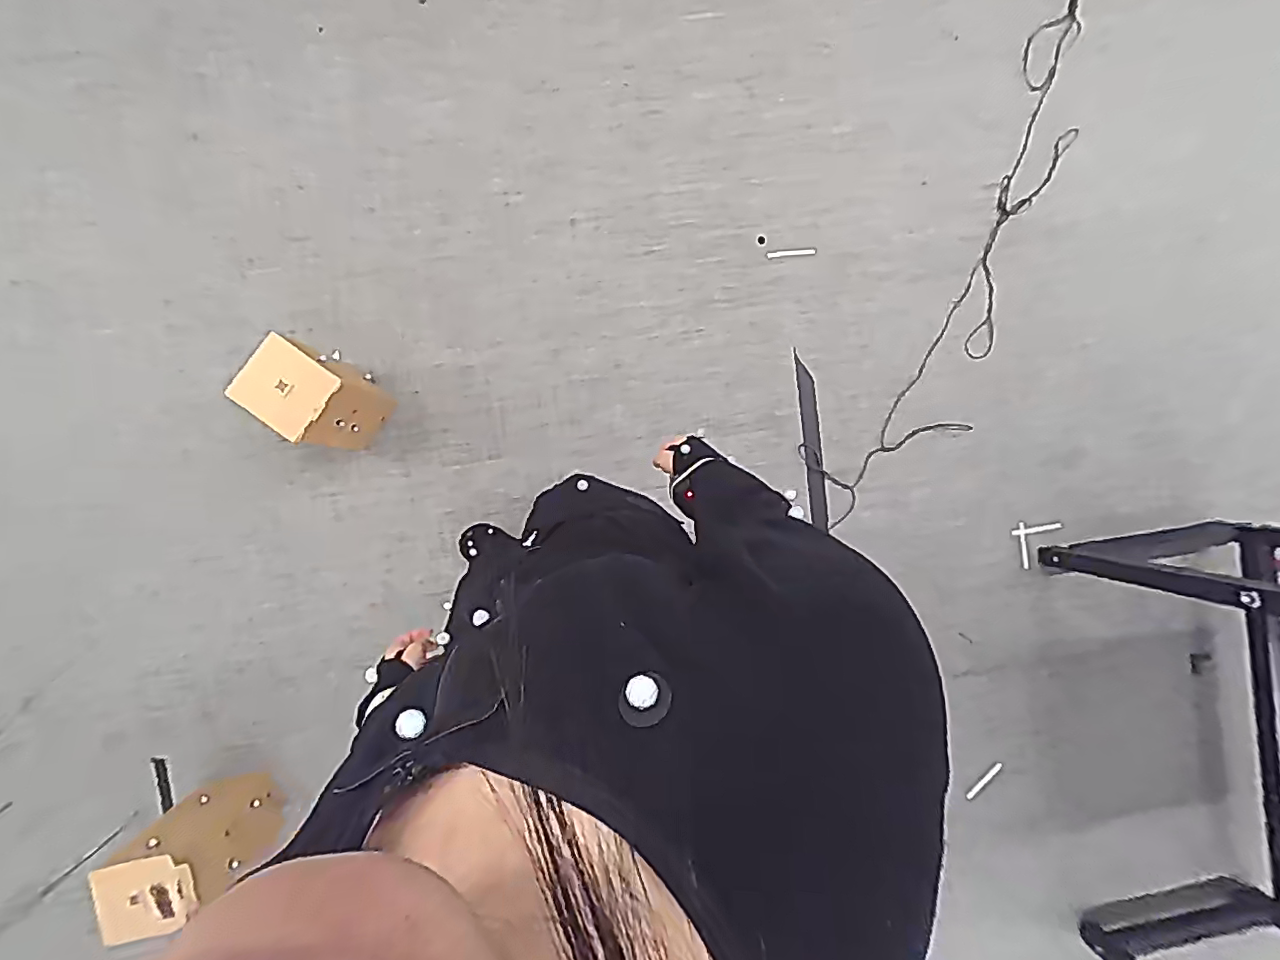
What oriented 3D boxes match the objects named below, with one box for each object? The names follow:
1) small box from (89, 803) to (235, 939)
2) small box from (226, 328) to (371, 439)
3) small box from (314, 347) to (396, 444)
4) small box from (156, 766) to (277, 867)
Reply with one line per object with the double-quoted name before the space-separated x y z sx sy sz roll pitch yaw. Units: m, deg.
"small box" -1.046 0.857 1.205 0.179 0.176 0.168 -11 92 -3
"small box" -0.747 -0.202 1.203 0.179 0.176 0.168 37 87 -5
"small box" -0.760 -0.203 1.366 0.179 0.176 0.168 37 88 -4
"small box" -1.058 0.859 1.370 0.179 0.176 0.168 -12 91 -3
